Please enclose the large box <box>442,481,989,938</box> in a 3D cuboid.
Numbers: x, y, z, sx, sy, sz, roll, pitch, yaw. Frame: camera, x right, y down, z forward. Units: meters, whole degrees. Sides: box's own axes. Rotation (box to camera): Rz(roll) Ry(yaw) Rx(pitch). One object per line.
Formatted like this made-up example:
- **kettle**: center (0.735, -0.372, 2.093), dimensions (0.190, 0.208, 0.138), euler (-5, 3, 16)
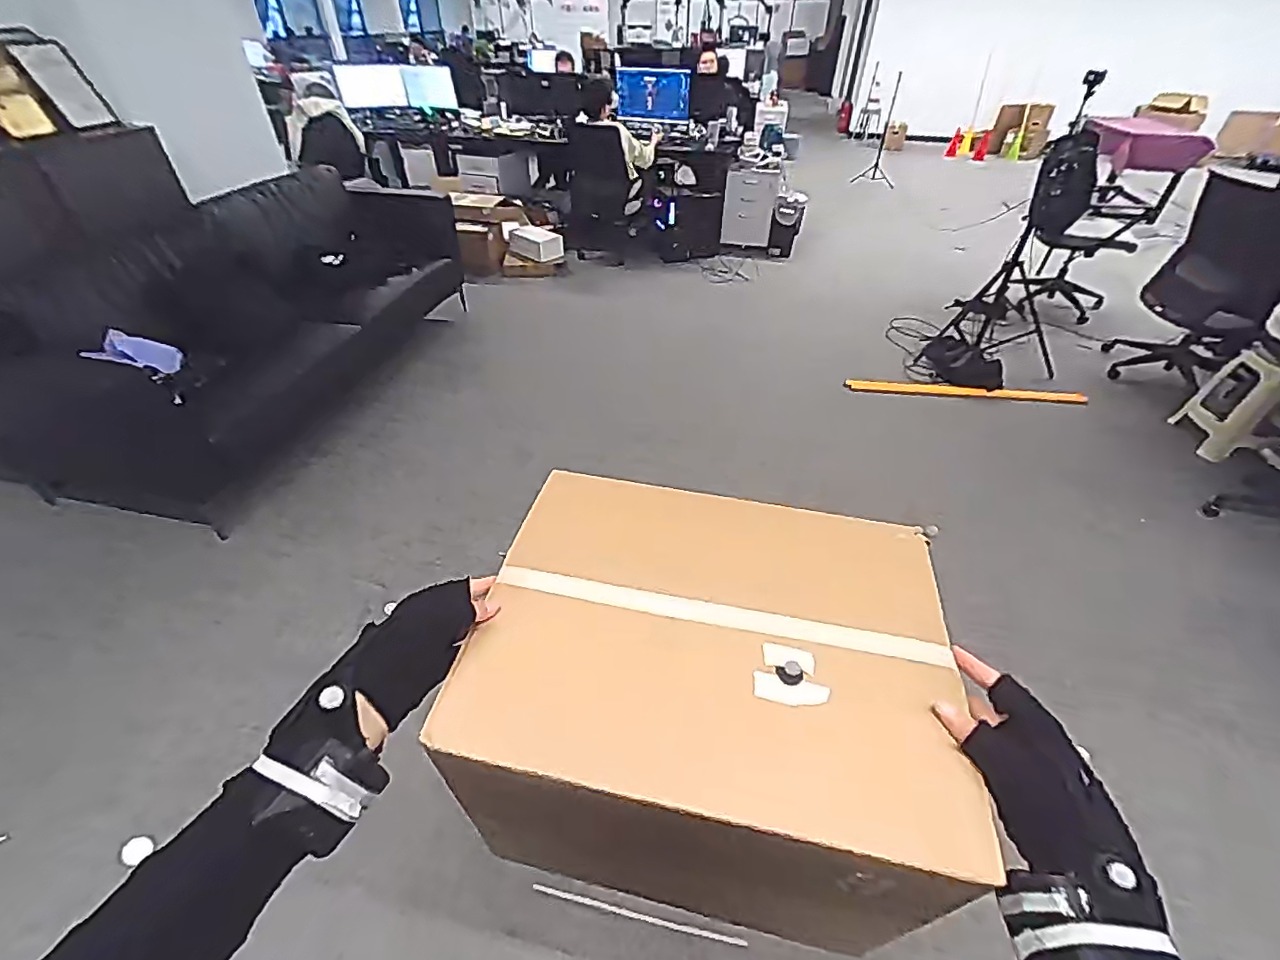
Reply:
- **large box**: center (0.066, 0.237, 0.593), dimensions (0.408, 0.320, 0.320), euler (9, 44, 8)
